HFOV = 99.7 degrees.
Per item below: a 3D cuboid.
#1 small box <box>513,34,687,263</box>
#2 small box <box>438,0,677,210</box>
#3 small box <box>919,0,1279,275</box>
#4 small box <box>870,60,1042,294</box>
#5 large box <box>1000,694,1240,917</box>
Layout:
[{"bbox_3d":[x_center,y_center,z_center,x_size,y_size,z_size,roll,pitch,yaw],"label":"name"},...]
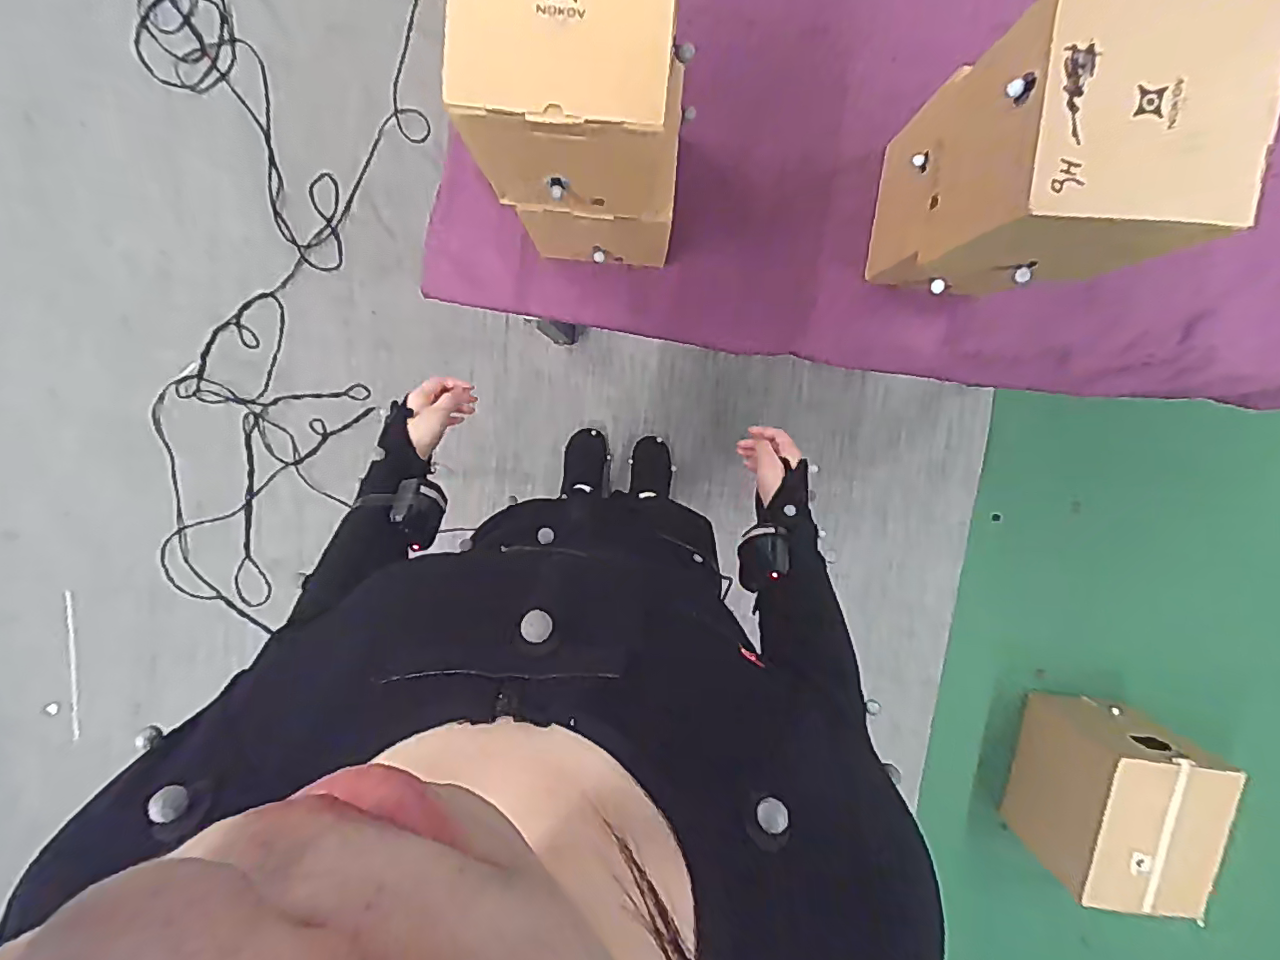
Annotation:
[{"bbox_3d":[-0.043,-0.369,0.619,0.168,0.176,0.179,5,96,0],"label":"small box"},{"bbox_3d":[-0.056,-0.358,0.457,0.168,0.176,0.179,5,96,-1],"label":"small box"},{"bbox_3d":[0.380,-0.284,0.469,0.179,0.176,0.168,4,98,-1],"label":"small box"},{"bbox_3d":[0.390,-0.332,0.627,0.168,0.176,0.179,7,98,-1],"label":"small box"},{"bbox_3d":[1.248,0.846,1.449,0.320,0.320,0.408,8,98,-1],"label":"large box"}]
